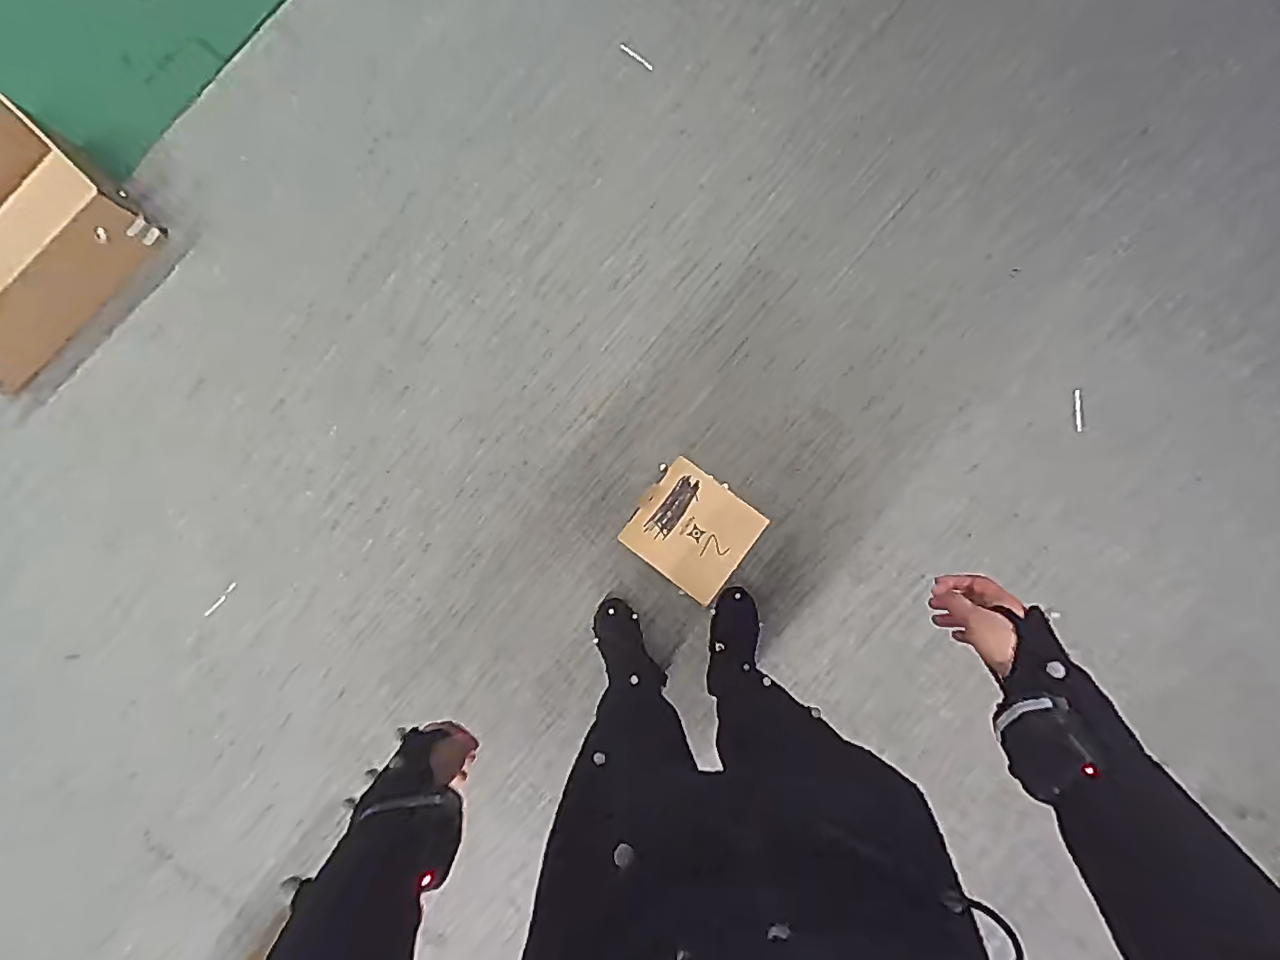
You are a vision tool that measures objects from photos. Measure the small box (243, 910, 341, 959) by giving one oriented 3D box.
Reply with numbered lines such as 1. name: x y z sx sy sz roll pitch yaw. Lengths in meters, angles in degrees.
1. small box: -0.806 1.123 1.200 0.168 0.176 0.179 32 88 6

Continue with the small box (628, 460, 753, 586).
1. small box: 0.097 0.084 1.076 0.168 0.176 0.179 41 89 7
